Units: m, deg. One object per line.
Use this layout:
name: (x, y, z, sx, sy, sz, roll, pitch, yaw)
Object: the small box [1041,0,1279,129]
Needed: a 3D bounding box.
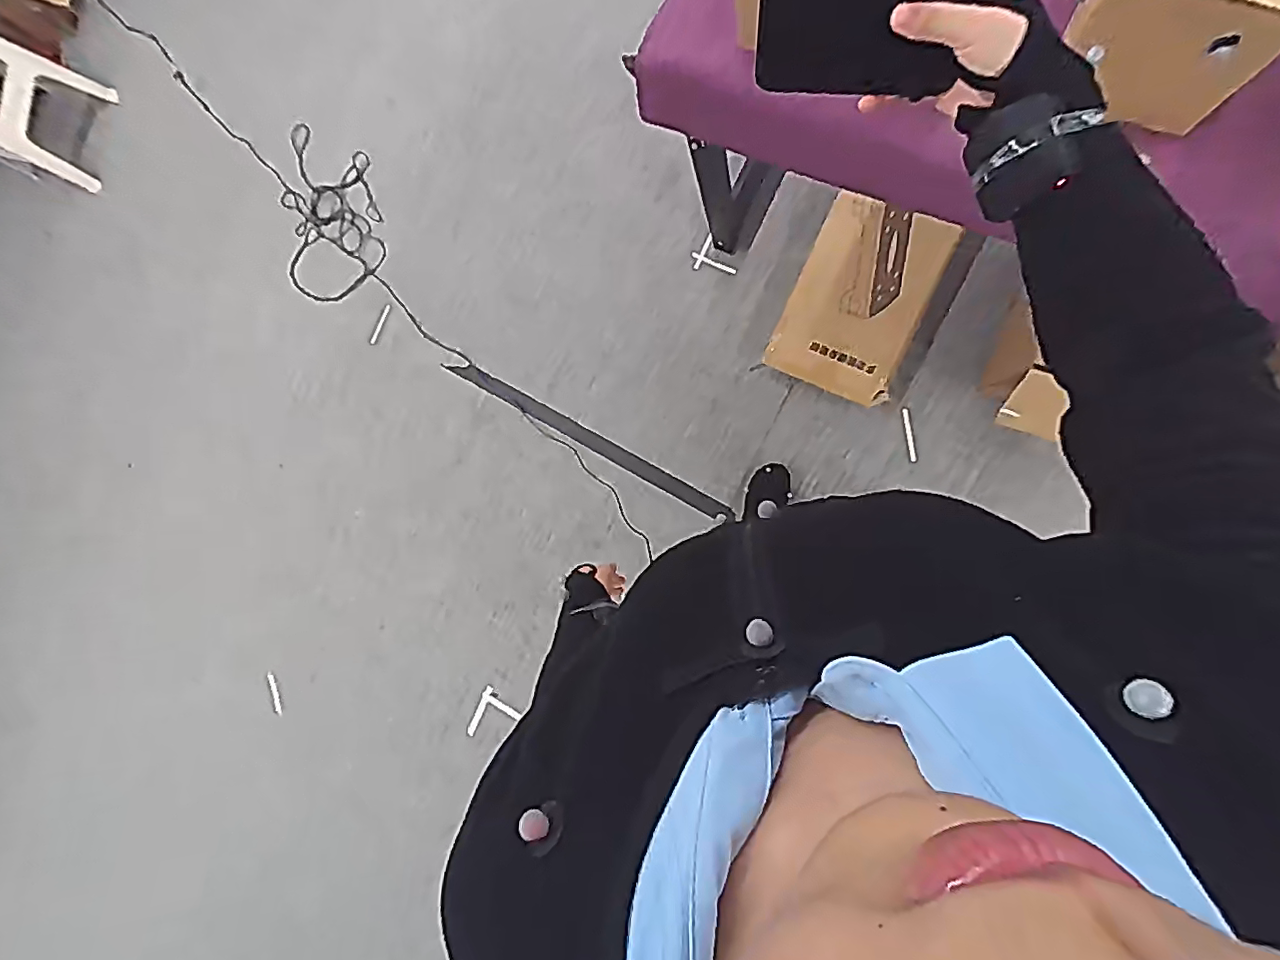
small box: (0.588, -0.518, 0.574, 0.179, 0.176, 0.168, 26, 94, 12)
